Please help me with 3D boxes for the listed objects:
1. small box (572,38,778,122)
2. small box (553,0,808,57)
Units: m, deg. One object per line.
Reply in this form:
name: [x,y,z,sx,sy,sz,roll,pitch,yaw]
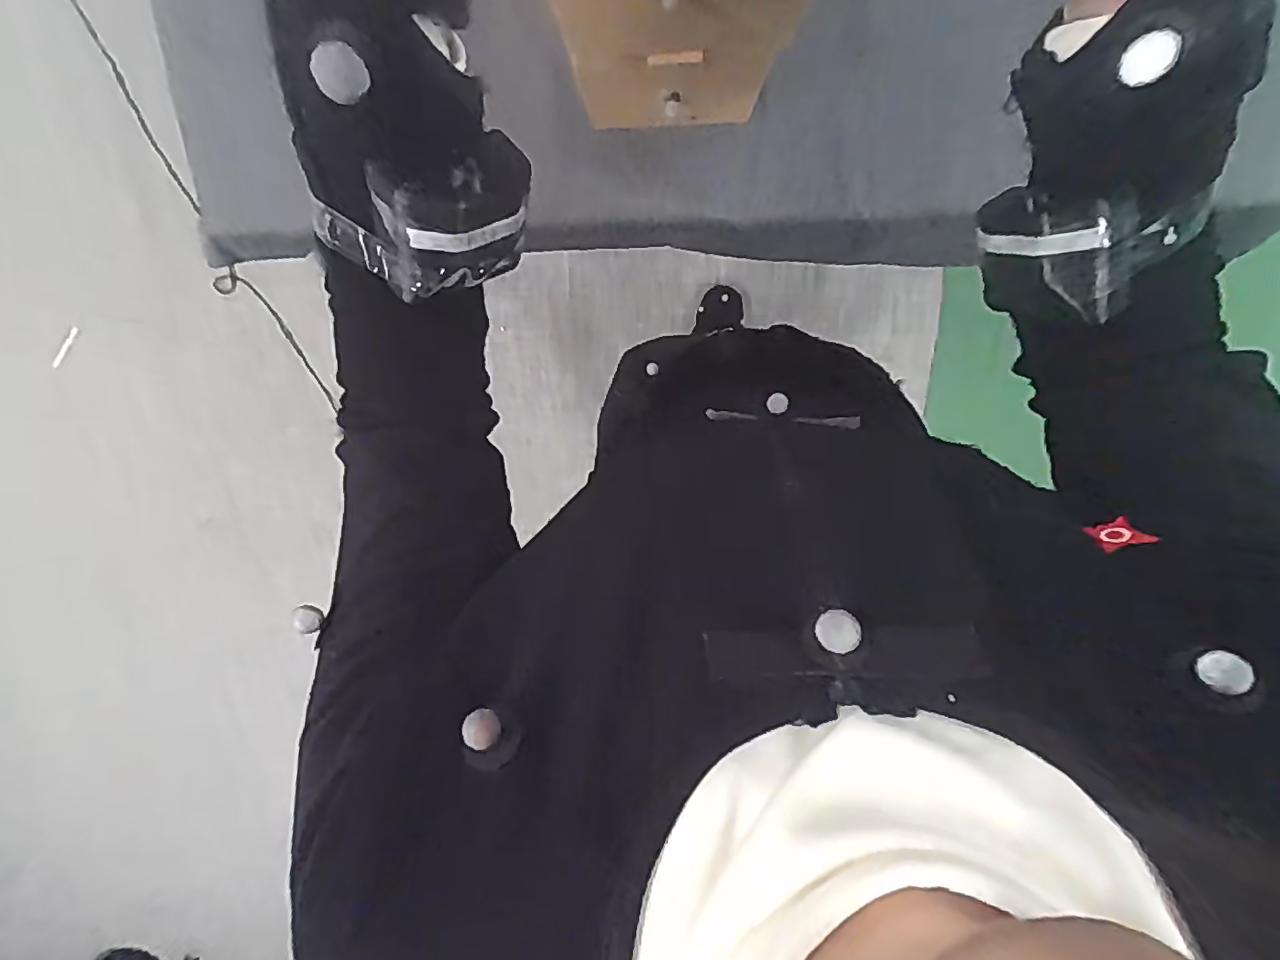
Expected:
small box: [0.029,-0.438,0.478,0.168,0.176,0.179,-1,108,3]
small box: [0.028,-0.384,0.322,0.179,0.176,0.168,1,107,3]
